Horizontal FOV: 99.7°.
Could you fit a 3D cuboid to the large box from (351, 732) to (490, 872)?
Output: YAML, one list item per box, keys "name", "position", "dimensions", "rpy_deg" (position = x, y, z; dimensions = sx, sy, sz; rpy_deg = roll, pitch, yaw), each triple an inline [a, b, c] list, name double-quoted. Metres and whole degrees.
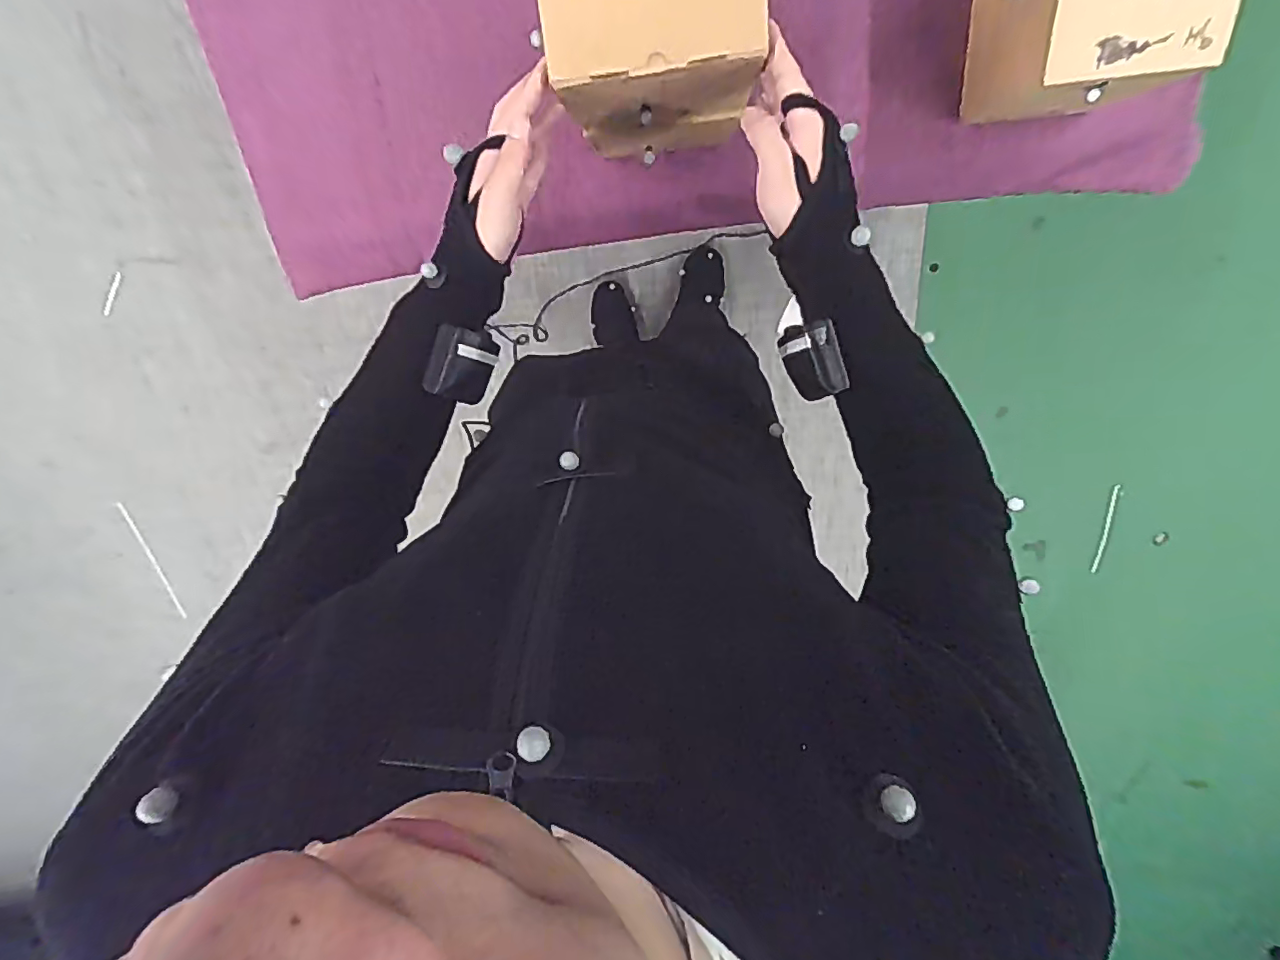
- name: "large box"
  position: [-0.845, 1.246, 2.106]
  dimensions: [0.408, 0.320, 0.320]
  rpy_deg: [16, 114, -7]

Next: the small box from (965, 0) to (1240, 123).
- name: "small box"
  position: [0.471, -0.501, 0.565]
  dimensions: [0.168, 0.176, 0.179]
  rpy_deg: [-3, 112, 4]

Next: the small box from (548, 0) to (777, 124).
- name: "small box"
  position: [0.013, -0.417, 0.440]
  dimensions: [0.168, 0.176, 0.179]
  rpy_deg: [-5, 114, 5]
